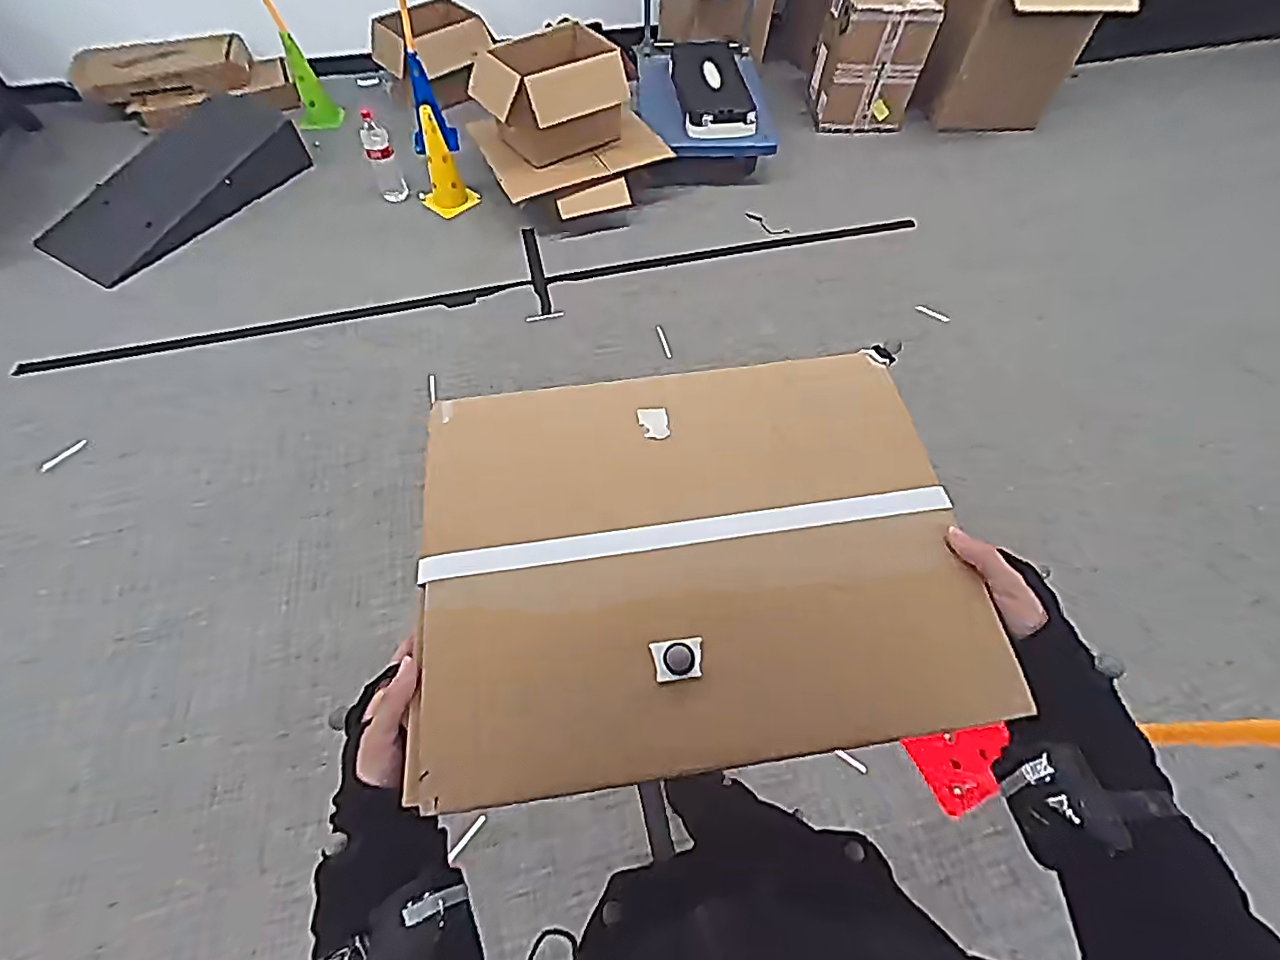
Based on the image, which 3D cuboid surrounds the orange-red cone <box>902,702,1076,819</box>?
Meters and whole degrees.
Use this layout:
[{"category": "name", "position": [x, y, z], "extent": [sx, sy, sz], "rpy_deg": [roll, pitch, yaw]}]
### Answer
[{"category": "orange-red cone", "position": [0.726, 0.540, 1.077], "extent": [0.199, 0.360, 0.198], "rpy_deg": [-19, 62, -13]}]
